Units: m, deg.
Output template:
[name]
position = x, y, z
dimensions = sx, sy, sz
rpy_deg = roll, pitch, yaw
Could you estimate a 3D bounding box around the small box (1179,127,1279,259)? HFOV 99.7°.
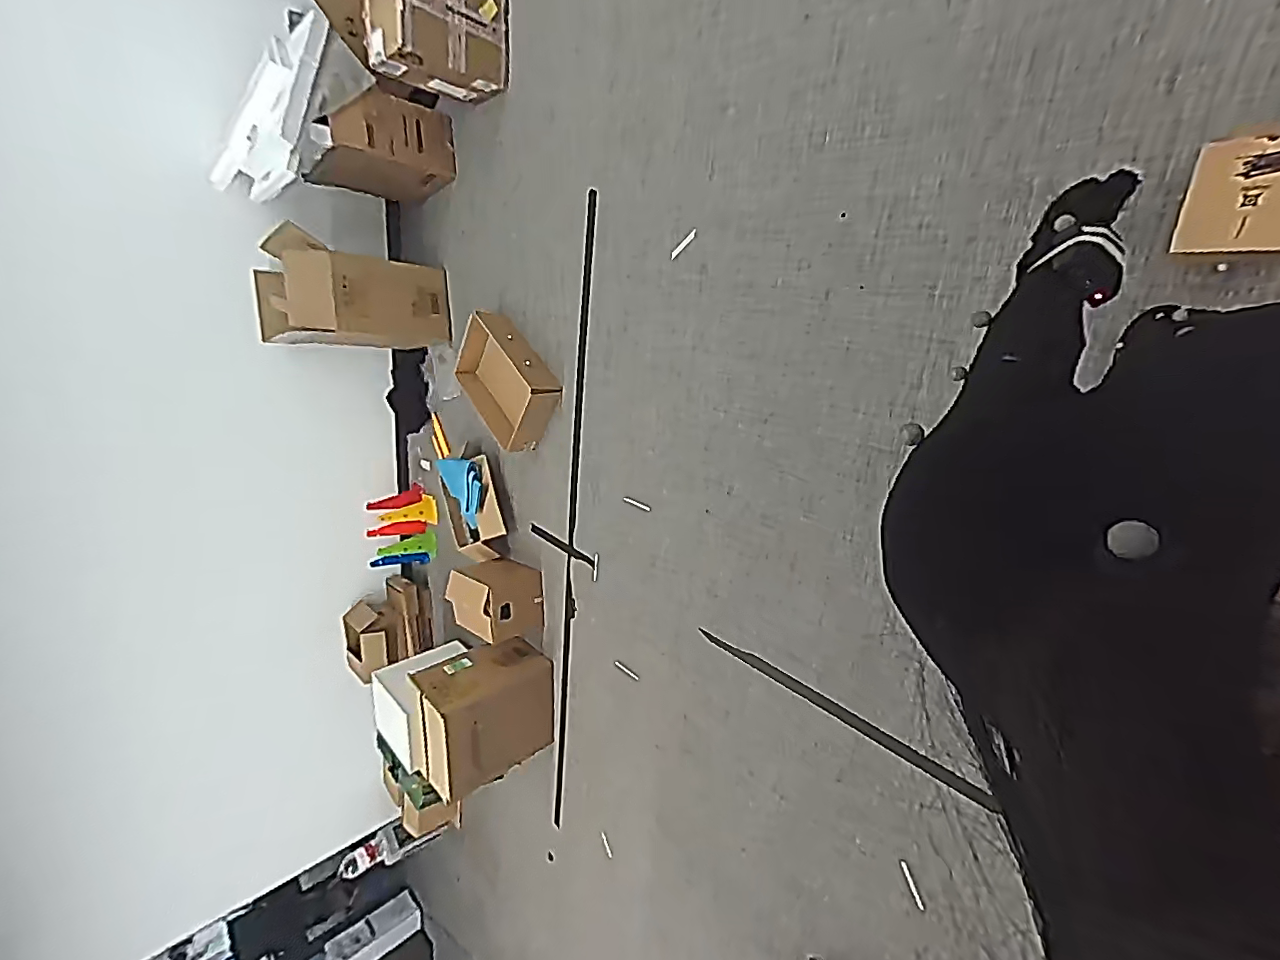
[small box]
position = 1.064, -0.484, 0.924
dimensions = 0.168, 0.176, 0.179
rpy_deg = 21, 114, 43
